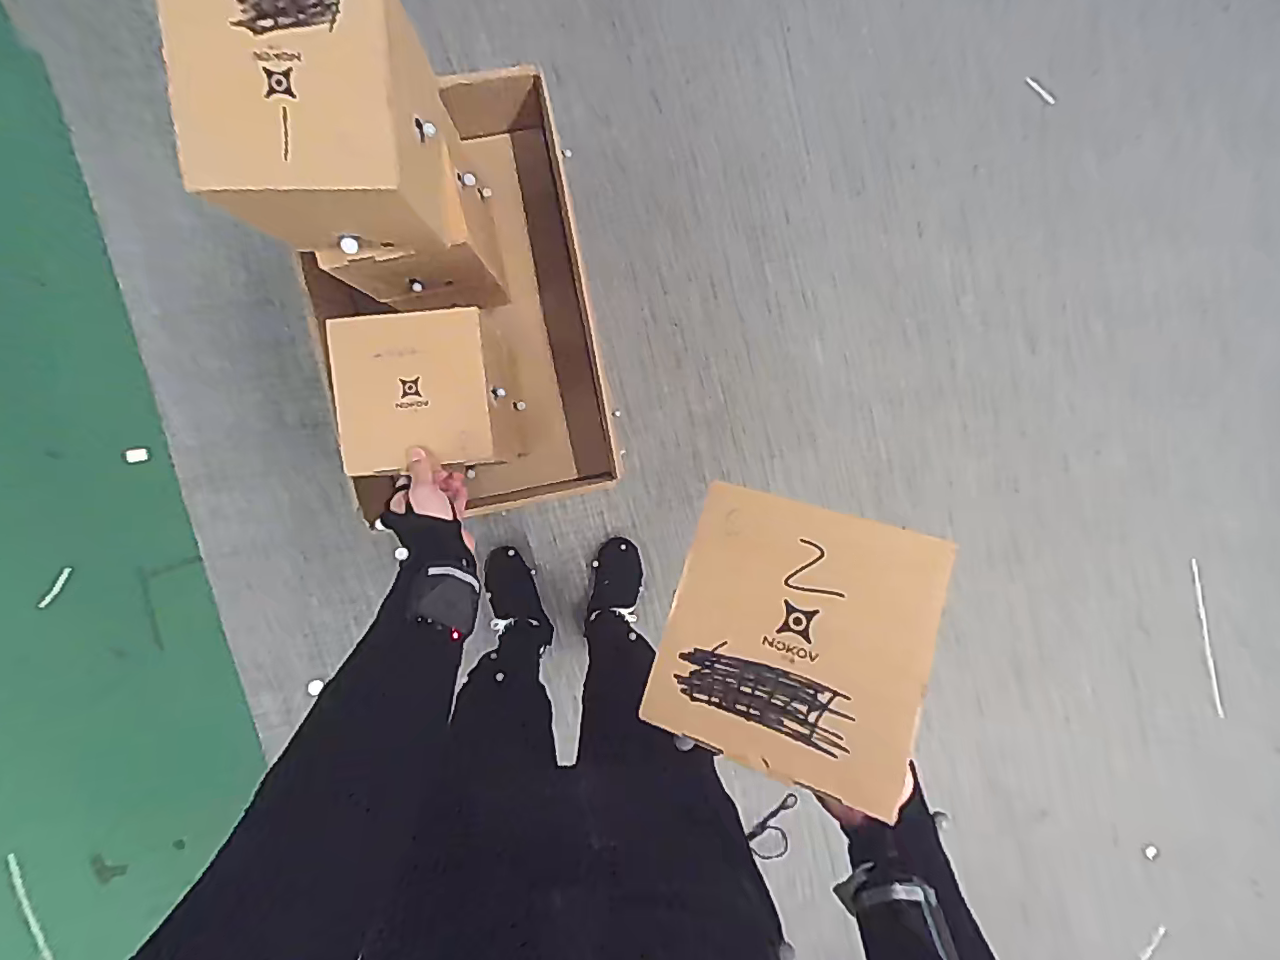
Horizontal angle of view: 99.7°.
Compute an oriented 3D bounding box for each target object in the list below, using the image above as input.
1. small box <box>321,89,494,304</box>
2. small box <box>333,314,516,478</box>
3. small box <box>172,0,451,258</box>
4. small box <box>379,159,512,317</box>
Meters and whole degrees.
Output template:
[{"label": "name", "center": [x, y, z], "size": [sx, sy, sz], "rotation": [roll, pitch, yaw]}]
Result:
[{"label": "small box", "center": [-0.293, -0.338, 0.673], "size": [0.168, 0.176, 0.179], "rotation": [-12, 97, -4]}, {"label": "small box", "center": [-0.257, -0.096, 0.684], "size": [0.168, 0.176, 0.179], "rotation": [-5, 91, -4]}, {"label": "small box", "center": [-0.285, -0.325, 0.509], "size": [0.168, 0.176, 0.179], "rotation": [-2, 97, -4]}, {"label": "small box", "center": [-0.306, -0.355, 0.833], "size": [0.168, 0.176, 0.179], "rotation": [-11, 96, -3]}]
